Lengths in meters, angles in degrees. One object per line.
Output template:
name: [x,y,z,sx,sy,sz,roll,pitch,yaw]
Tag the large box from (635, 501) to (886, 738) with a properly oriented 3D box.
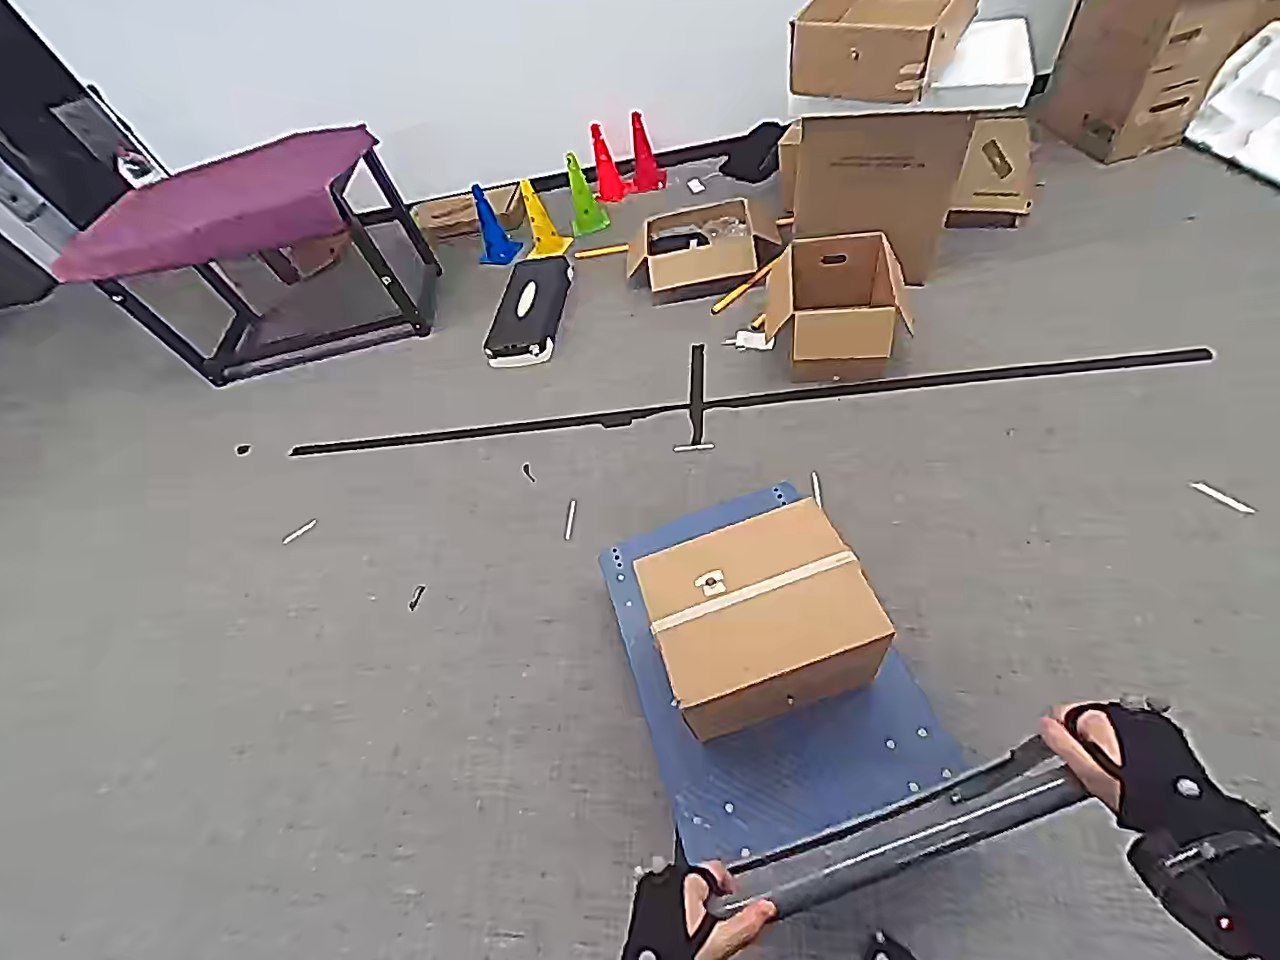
large box: [0.247,0.310,1.168,0.408,0.320,0.320,-21,51,1]
